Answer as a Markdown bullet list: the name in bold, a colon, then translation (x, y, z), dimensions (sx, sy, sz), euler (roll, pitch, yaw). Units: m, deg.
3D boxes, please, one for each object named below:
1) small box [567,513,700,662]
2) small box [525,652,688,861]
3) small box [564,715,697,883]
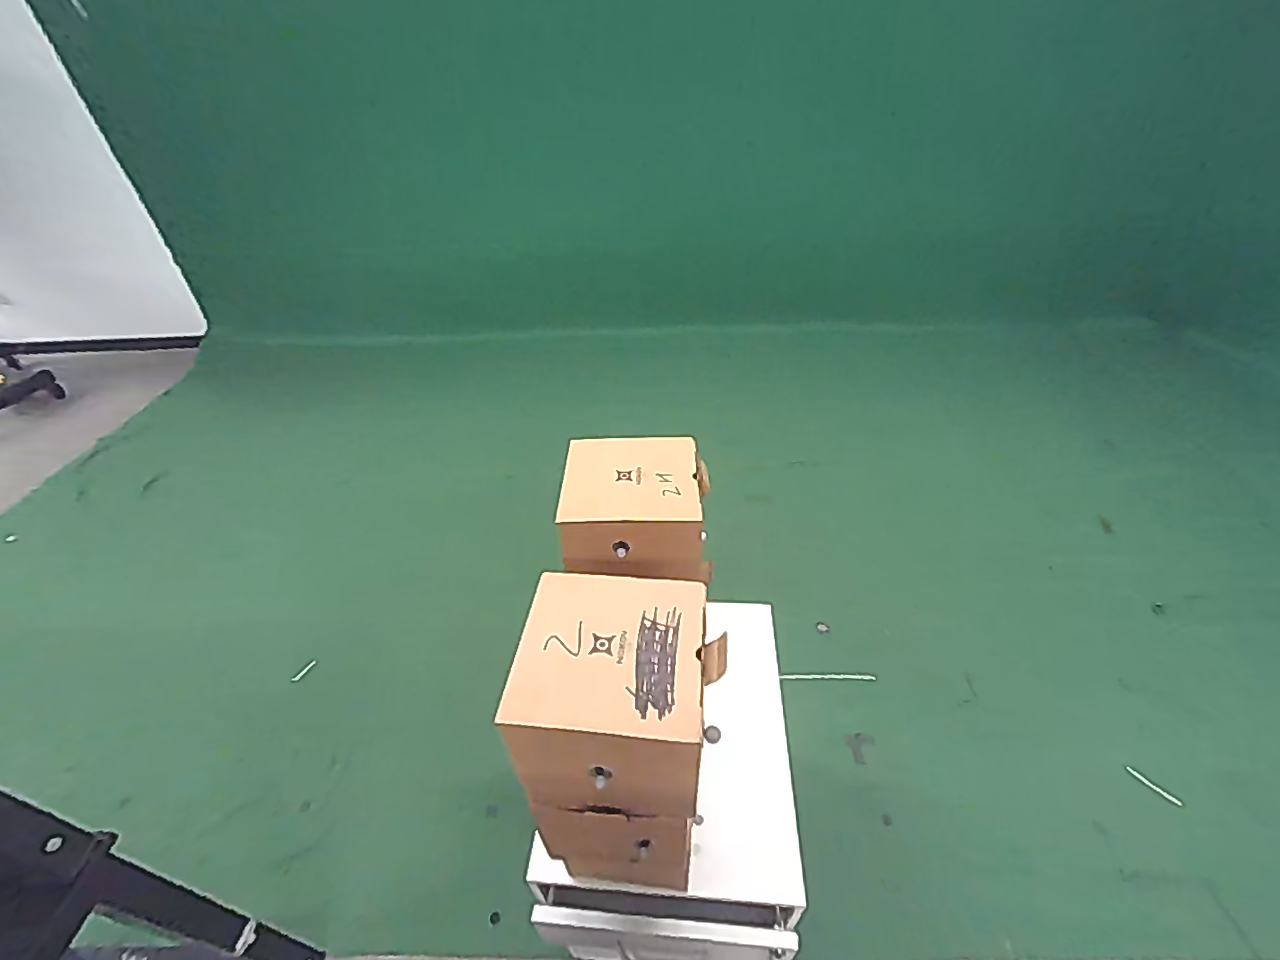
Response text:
- **small box**: translation (-0.002, 0.172, 0.843), dimensions (0.179, 0.176, 0.168), euler (4, 41, 7)
- **small box**: translation (-0.027, 0.333, 0.653), dimensions (0.168, 0.176, 0.179), euler (2, 40, 4)
- **small box**: translation (-0.013, 0.445, 0.769), dimensions (0.179, 0.176, 0.168), euler (4, 39, 7)
